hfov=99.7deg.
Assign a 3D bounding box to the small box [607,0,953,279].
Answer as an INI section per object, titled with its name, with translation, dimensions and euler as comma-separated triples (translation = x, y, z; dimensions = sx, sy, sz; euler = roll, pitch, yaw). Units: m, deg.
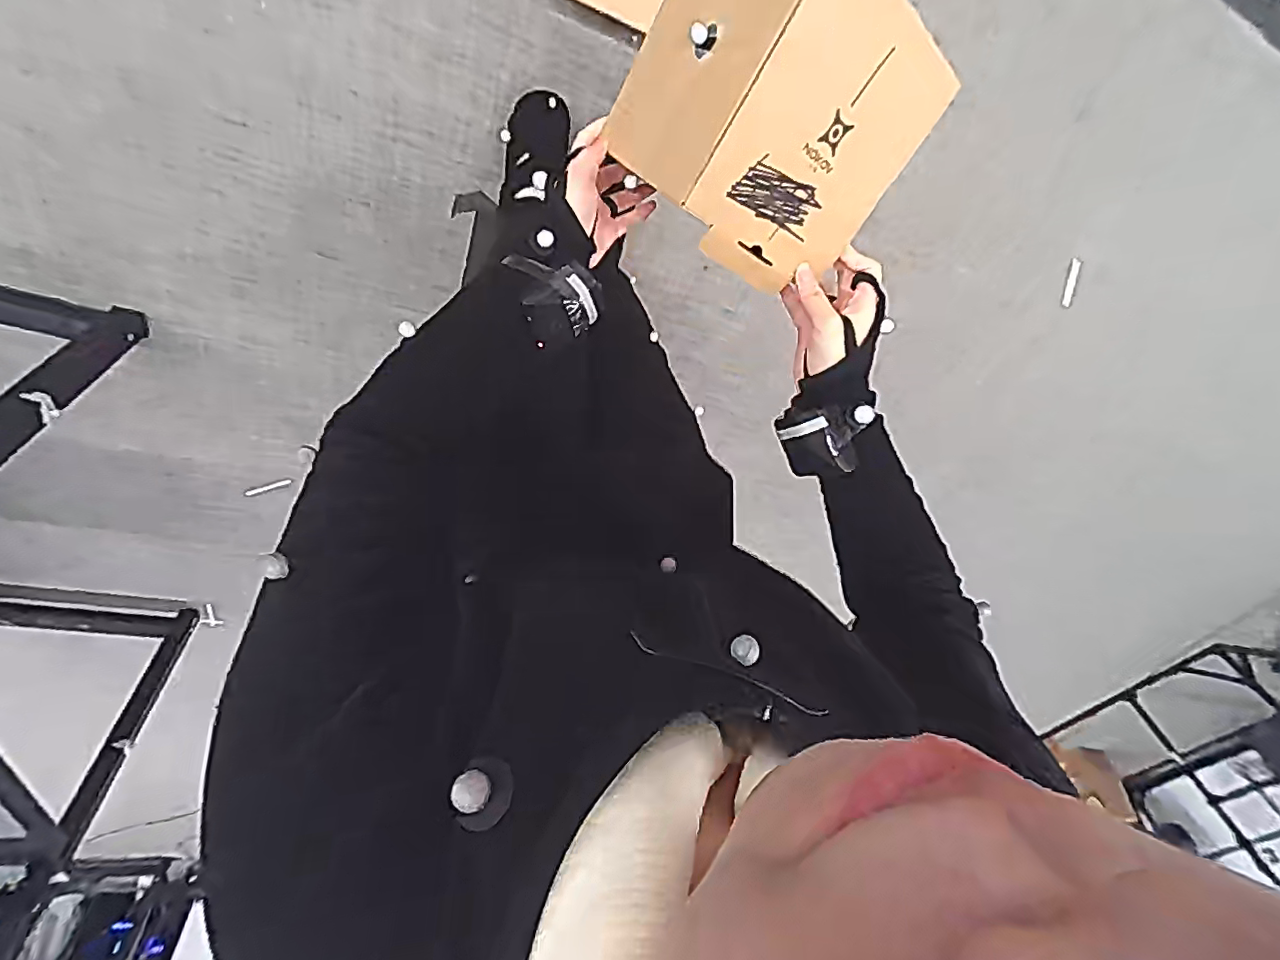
[small box]
translation = 0.094, -0.302, 0.433
dimensions = 0.168, 0.176, 0.179
euler = 12, 123, -40
